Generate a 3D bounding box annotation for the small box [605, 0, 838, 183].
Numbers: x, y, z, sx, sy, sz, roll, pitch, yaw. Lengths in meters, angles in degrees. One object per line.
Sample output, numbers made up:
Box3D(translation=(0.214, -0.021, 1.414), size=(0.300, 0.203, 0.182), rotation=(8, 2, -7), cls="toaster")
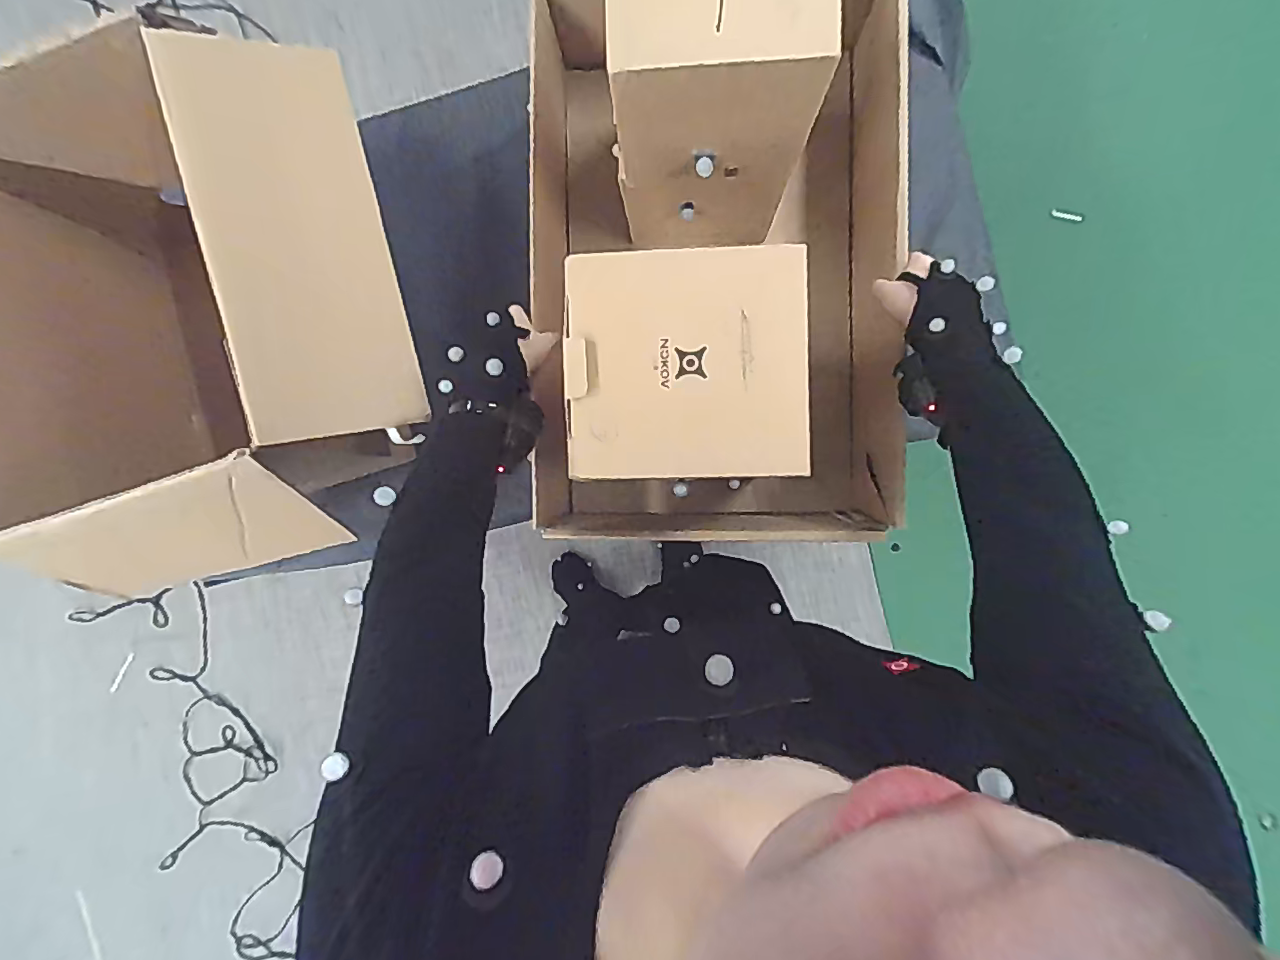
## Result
Box3D(translation=(0.061, -0.382, 0.458), size=(0.168, 0.176, 0.179), rotation=(0, 93, 4), cls="small box")
